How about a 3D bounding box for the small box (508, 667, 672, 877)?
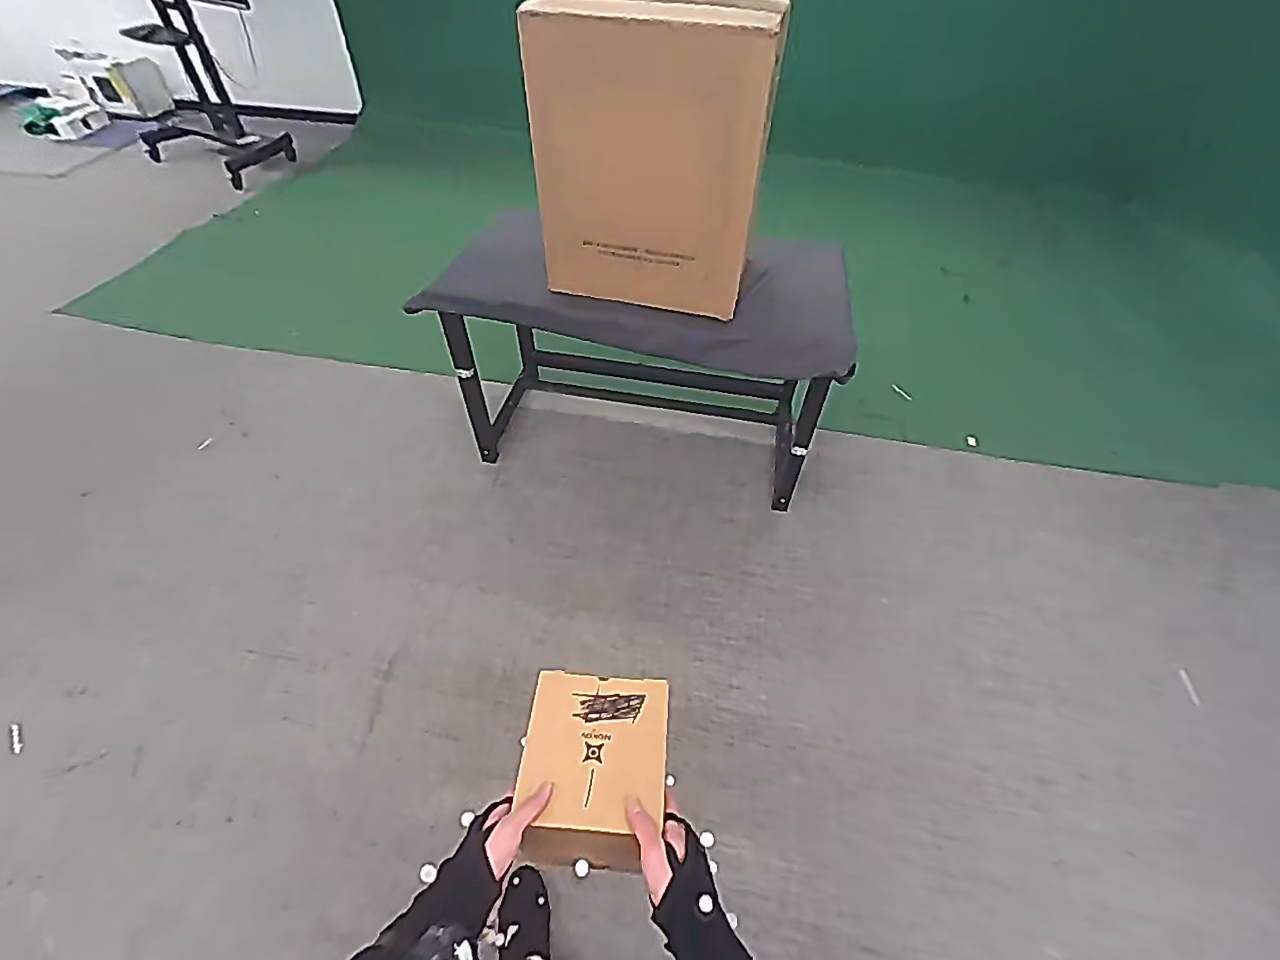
[{"bbox_3d":[-0.054,0.365,0.680,0.168,0.176,0.179,6,43,3],"label":"small box"}]
